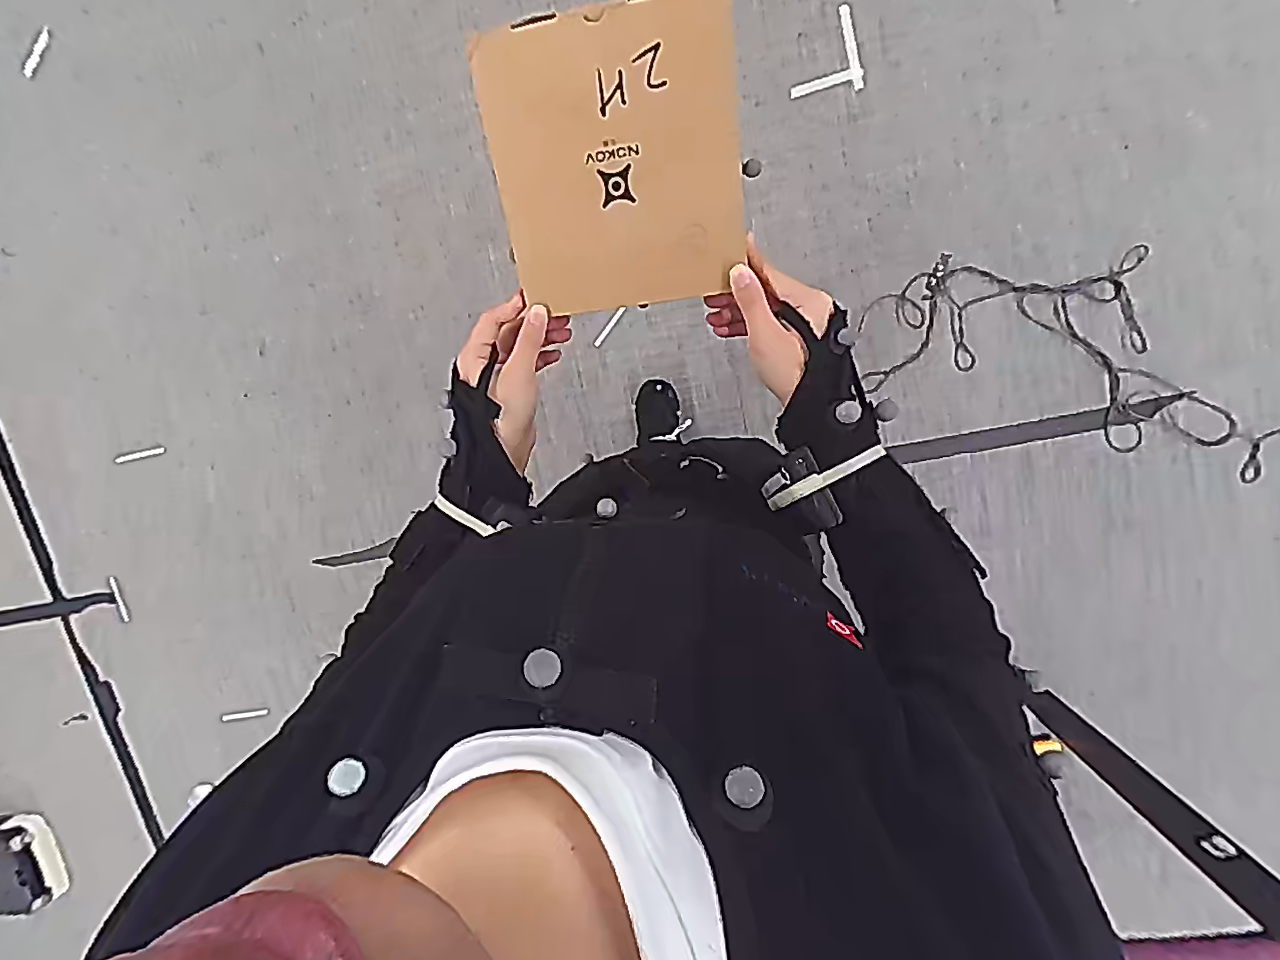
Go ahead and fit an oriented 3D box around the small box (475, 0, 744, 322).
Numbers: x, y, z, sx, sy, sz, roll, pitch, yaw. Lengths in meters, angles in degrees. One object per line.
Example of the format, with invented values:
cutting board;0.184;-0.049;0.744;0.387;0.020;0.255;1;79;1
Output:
small box;-0.004;-0.239;0.434;0.168;0.176;0.179;-4;117;9
